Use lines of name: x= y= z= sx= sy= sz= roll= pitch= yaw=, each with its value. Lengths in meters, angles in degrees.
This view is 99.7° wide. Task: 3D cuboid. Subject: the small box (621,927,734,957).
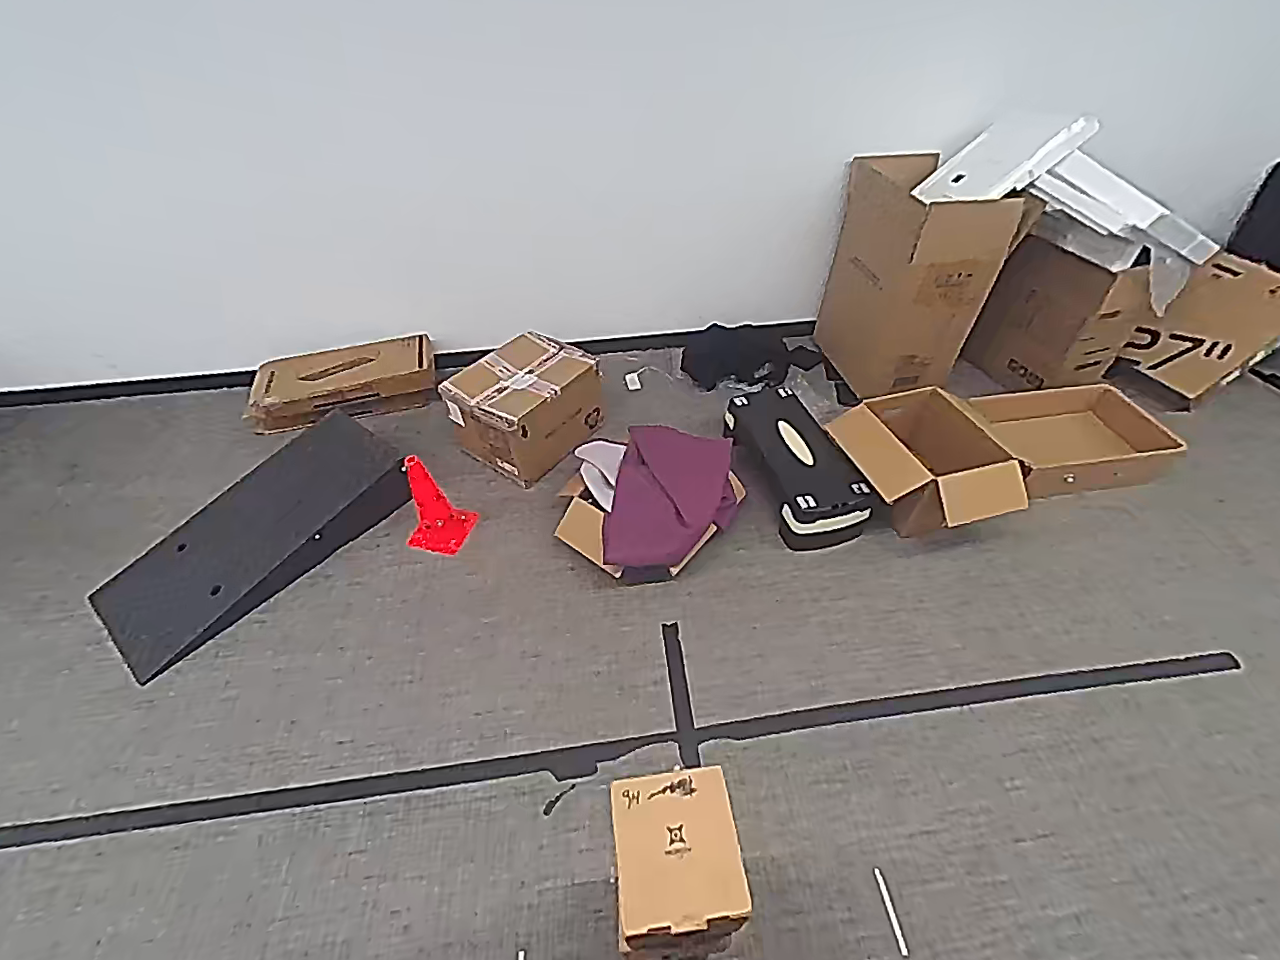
small box: x=0.052 y=0.661 z=0.889 sx=0.168 sy=0.176 sz=0.179 roll=-4 pitch=47 yaw=-1

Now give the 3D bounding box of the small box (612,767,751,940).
small box: x=0.053 y=0.540 z=0.778 sx=0.168 sy=0.176 sz=0.179 roll=-6 pitch=46 yaw=-4
